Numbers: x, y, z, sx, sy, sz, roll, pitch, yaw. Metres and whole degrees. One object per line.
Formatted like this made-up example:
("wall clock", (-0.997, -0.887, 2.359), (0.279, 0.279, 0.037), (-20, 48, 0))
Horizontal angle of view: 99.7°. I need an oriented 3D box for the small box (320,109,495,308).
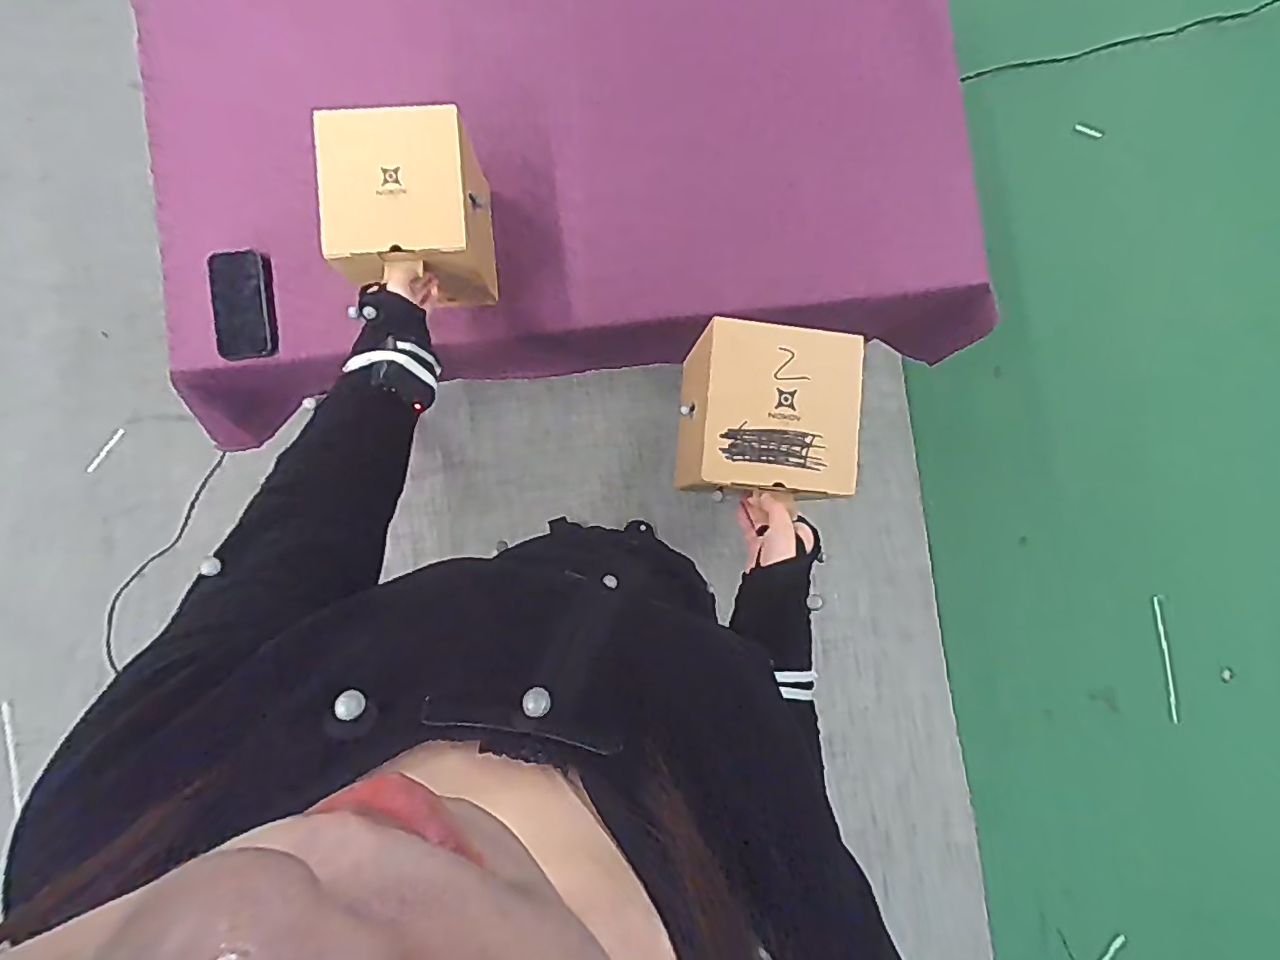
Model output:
("small box", (-0.290, -0.341, 0.705), (0.168, 0.176, 0.179), (-4, 88, -4))
